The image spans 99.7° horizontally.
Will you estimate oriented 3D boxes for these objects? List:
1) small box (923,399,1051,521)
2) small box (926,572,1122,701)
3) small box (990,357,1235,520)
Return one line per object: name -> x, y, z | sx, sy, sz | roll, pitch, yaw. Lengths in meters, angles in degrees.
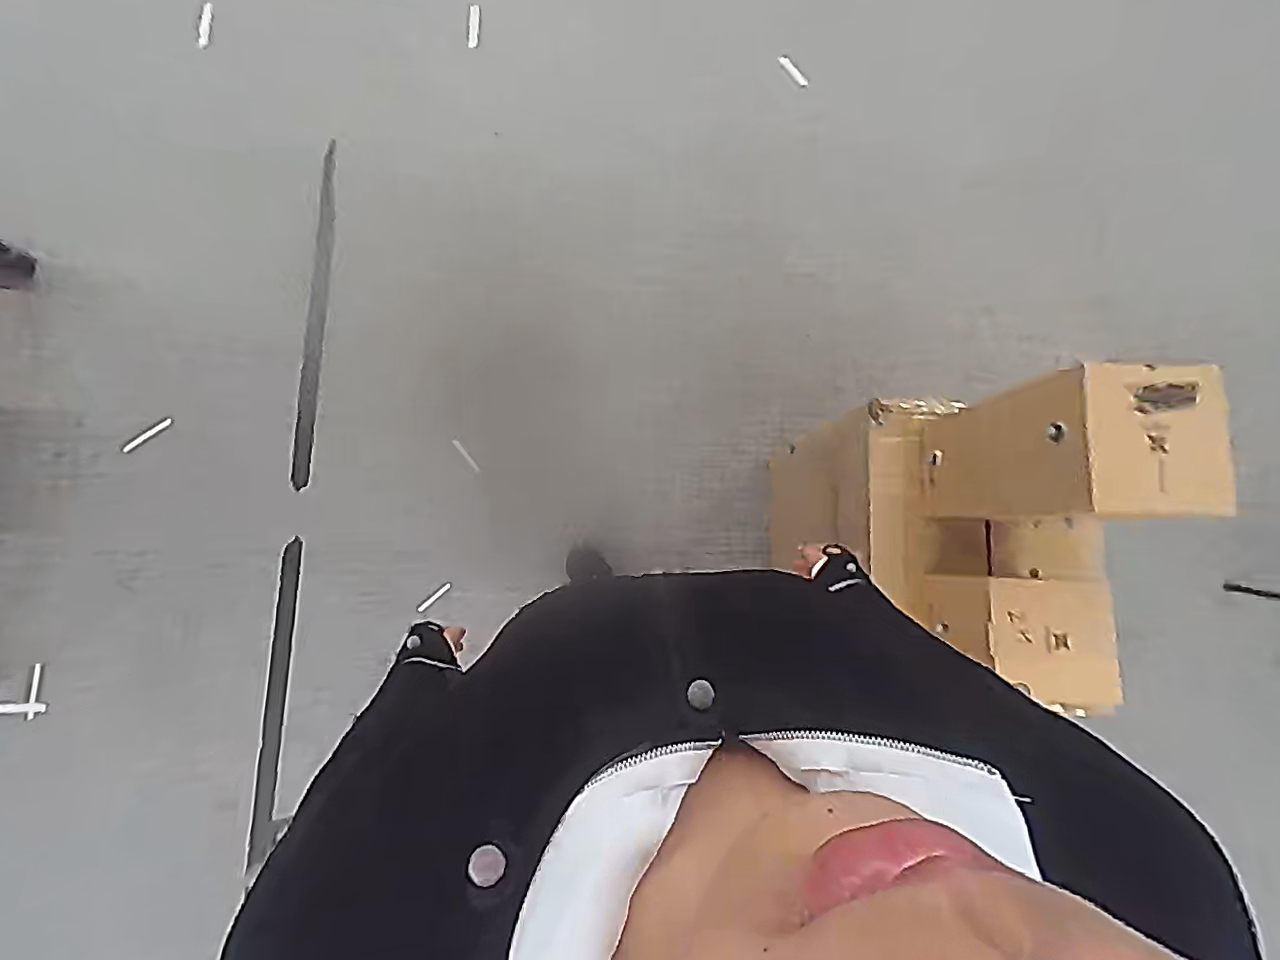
small box -> 0.578, -0.024, 0.852 | 0.179, 0.176, 0.168 | 1, 82, 0
small box -> 0.564, 0.226, 0.816 | 0.179, 0.176, 0.168 | 2, 81, -1
small box -> 0.579, -0.043, 0.689 | 0.168, 0.176, 0.179 | 1, 83, -1
